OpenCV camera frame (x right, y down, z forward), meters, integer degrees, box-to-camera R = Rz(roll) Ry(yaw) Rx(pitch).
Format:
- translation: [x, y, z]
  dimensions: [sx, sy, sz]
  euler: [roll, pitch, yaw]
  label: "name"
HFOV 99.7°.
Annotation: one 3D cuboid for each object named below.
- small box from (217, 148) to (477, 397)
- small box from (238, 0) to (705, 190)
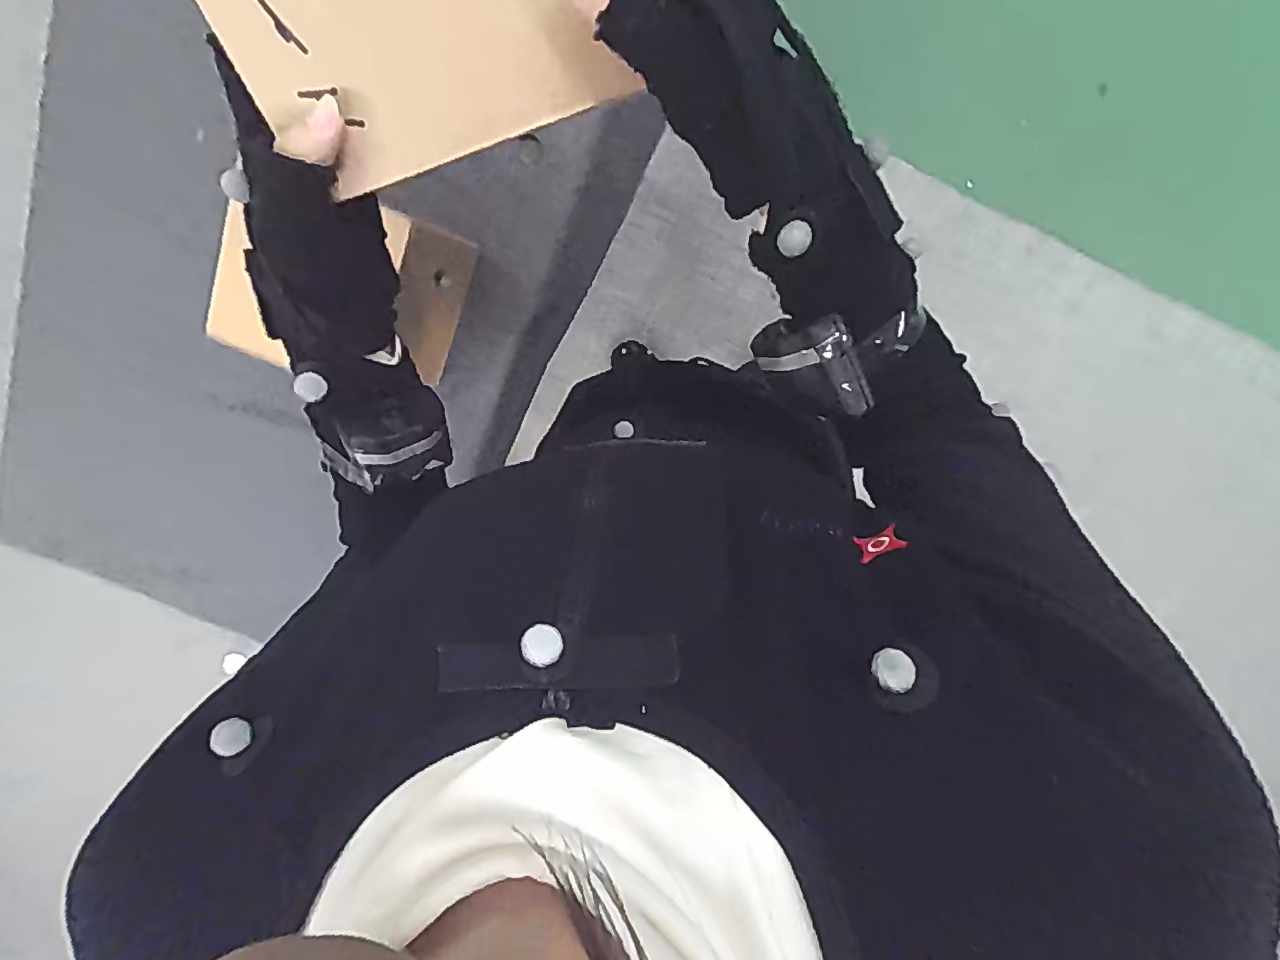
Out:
- translation: [-0.295, -0.208, 0.578]
  dimensions: [0.168, 0.176, 0.179]
  euler: [23, 107, 0]
  label: "small box"
- translation: [-0.081, -0.261, 0.259]
  dimensions: [0.179, 0.176, 0.168]
  euler: [-14, 124, 5]
  label: "small box"
